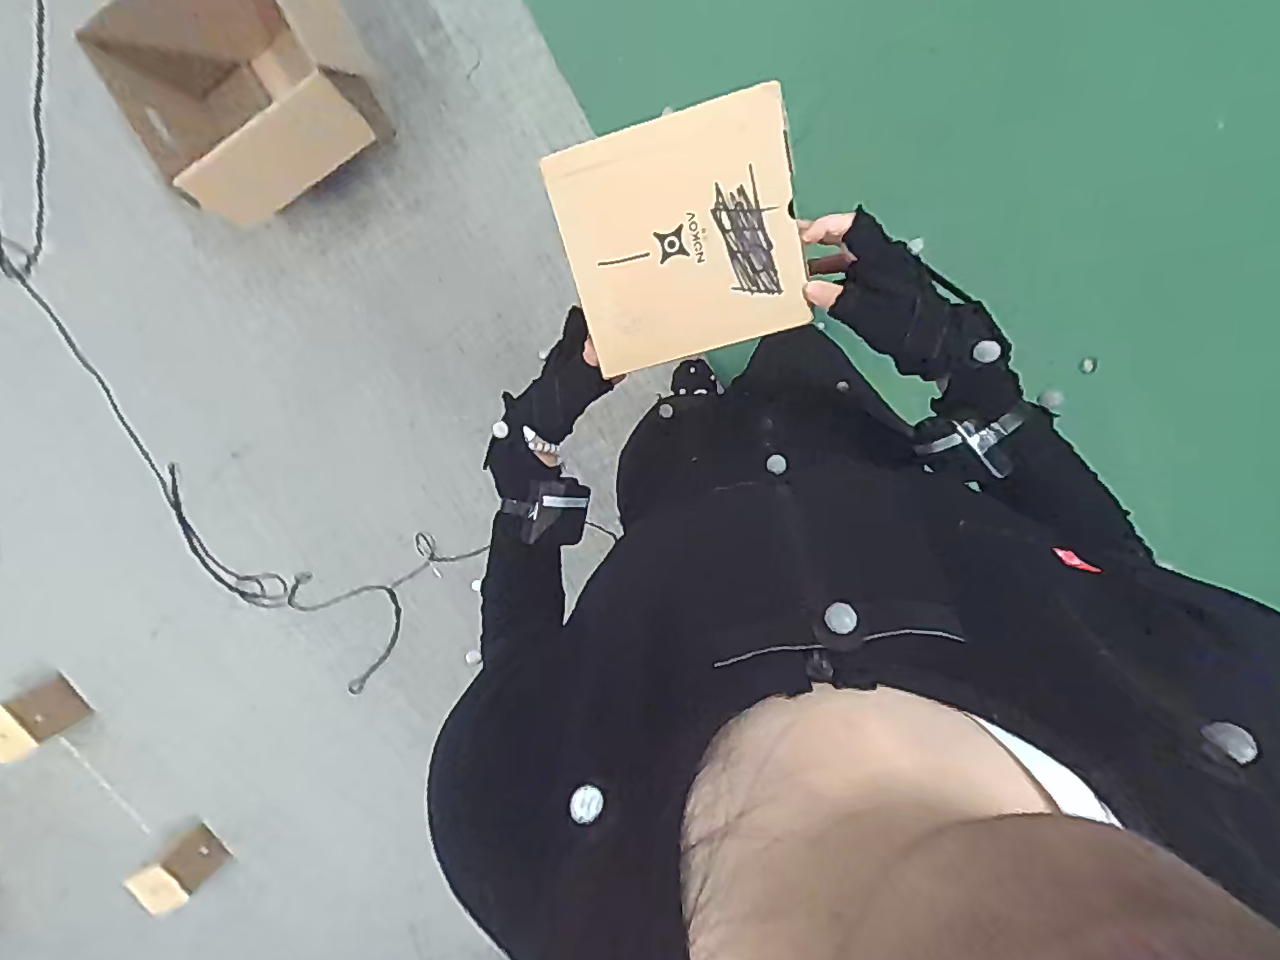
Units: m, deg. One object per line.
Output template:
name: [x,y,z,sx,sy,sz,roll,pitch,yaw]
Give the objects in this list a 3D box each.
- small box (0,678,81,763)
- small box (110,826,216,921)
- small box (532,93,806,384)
small box: [-1.964,0.757,1.712,0.168,0.176,0.179,-29,101,9]
small box: [-1.606,1.328,1.832,0.179,0.176,0.168,-29,101,9]
small box: [0.026,-0.199,0.475,0.179,0.176,0.168,-14,109,6]
